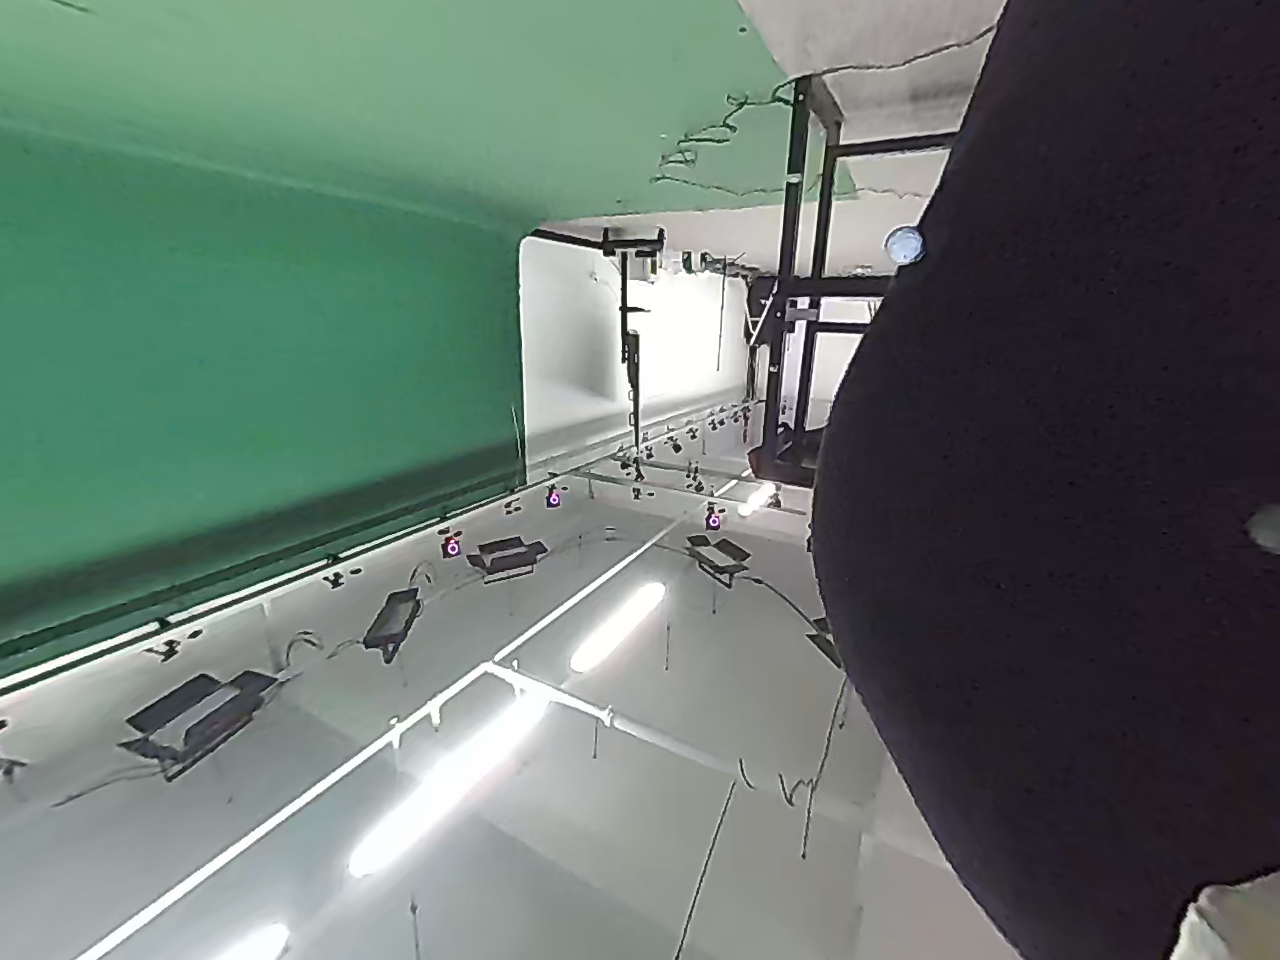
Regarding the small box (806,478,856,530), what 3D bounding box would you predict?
[{"bbox_3d":[0.816,0.096,2.297,0.179,0.176,0.168,9,-163,28],"label":"small box"}]
